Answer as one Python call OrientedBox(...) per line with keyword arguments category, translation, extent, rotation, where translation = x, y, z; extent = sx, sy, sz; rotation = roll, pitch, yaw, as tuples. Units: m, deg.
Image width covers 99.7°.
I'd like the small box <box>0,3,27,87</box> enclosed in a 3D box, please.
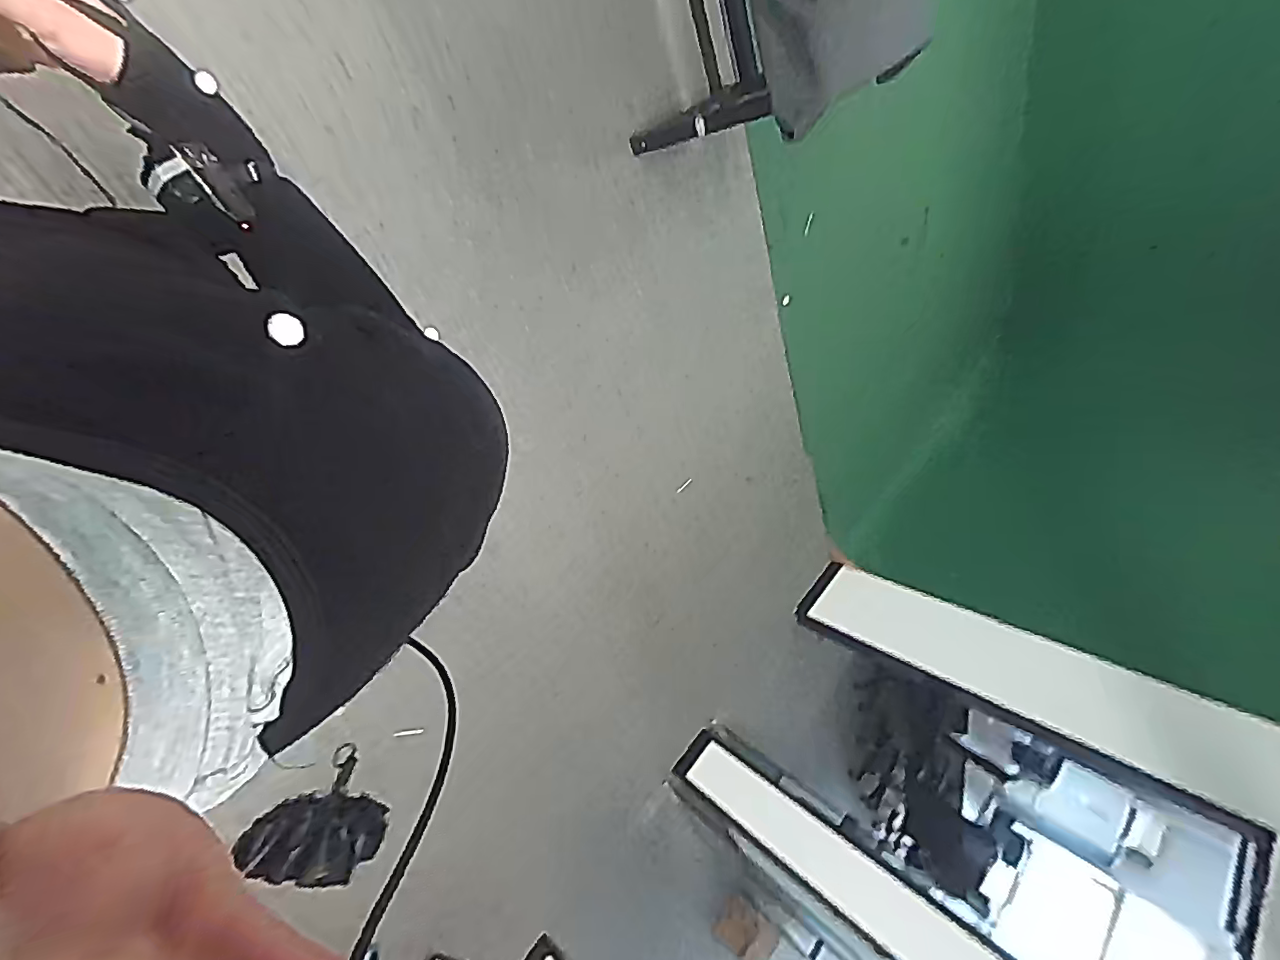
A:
OrientedBox(category="small box", translation=(-0.471, -0.308, 0.262), extent=(0.168, 0.176, 0.179), rotation=(-19, 123, -27))
